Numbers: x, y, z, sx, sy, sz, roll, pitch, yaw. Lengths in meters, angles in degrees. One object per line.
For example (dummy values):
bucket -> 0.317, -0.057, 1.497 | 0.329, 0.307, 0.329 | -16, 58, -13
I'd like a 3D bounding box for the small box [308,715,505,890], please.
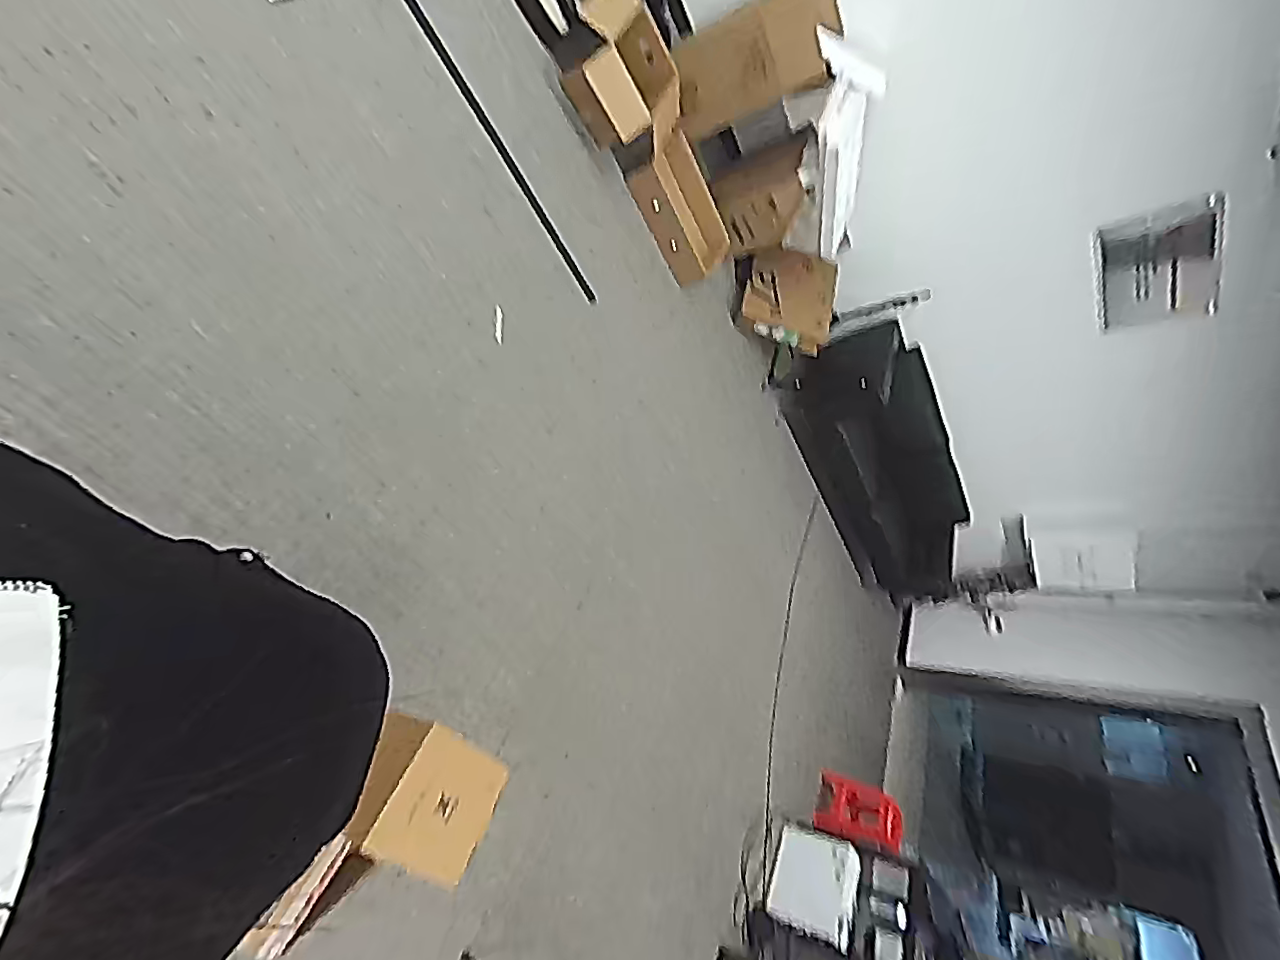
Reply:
small box -> -0.349, 0.475, 0.817 | 0.179, 0.176, 0.168 | 52, 46, -30
